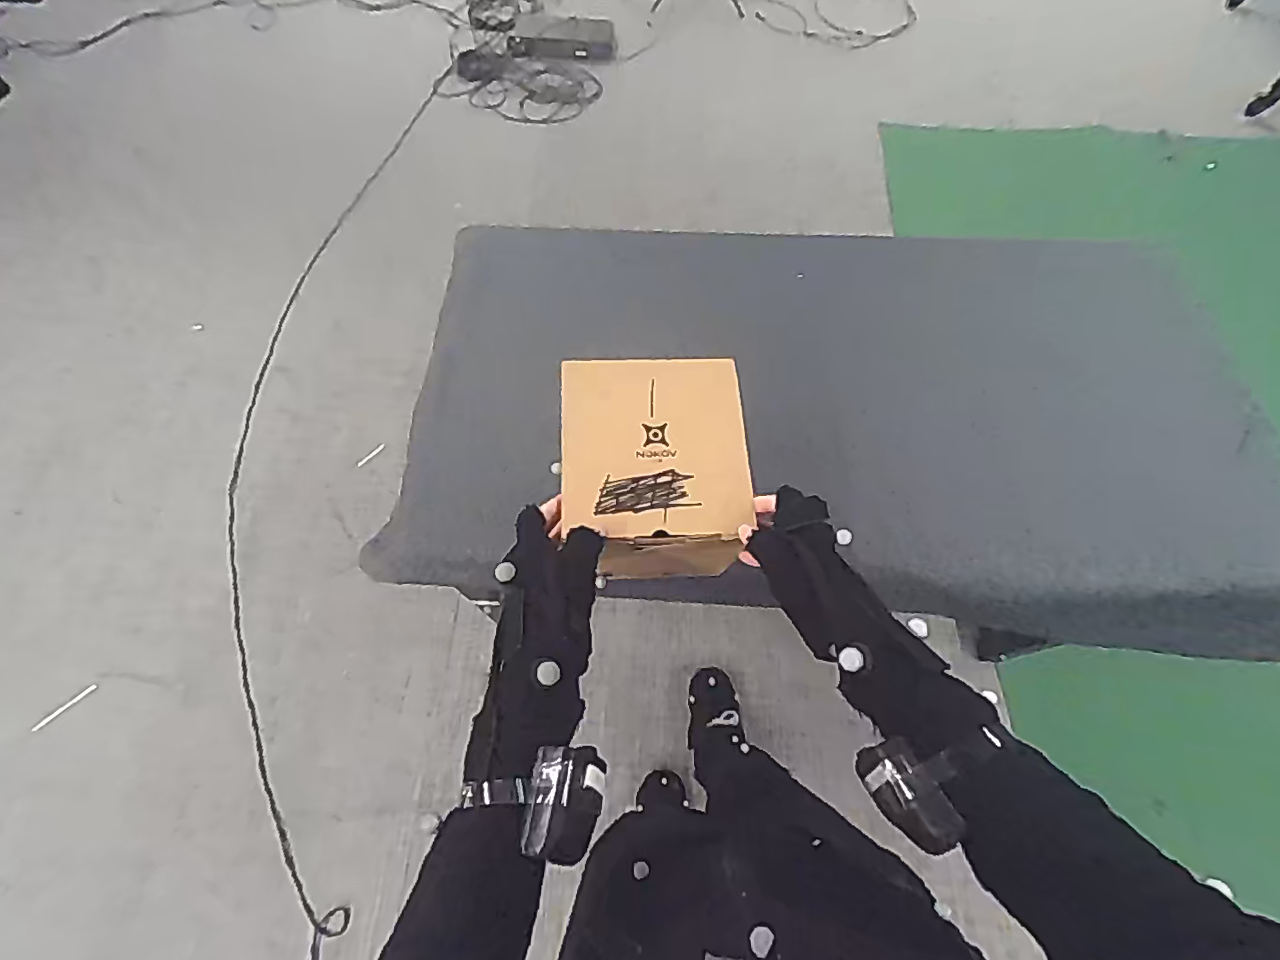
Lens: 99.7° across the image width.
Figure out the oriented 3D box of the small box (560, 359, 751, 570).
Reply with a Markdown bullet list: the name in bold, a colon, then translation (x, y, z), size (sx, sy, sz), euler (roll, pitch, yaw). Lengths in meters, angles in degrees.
- **small box**: translation (0.009, -0.006, 0.561), size (0.168, 0.176, 0.179), euler (-1, 68, -4)
